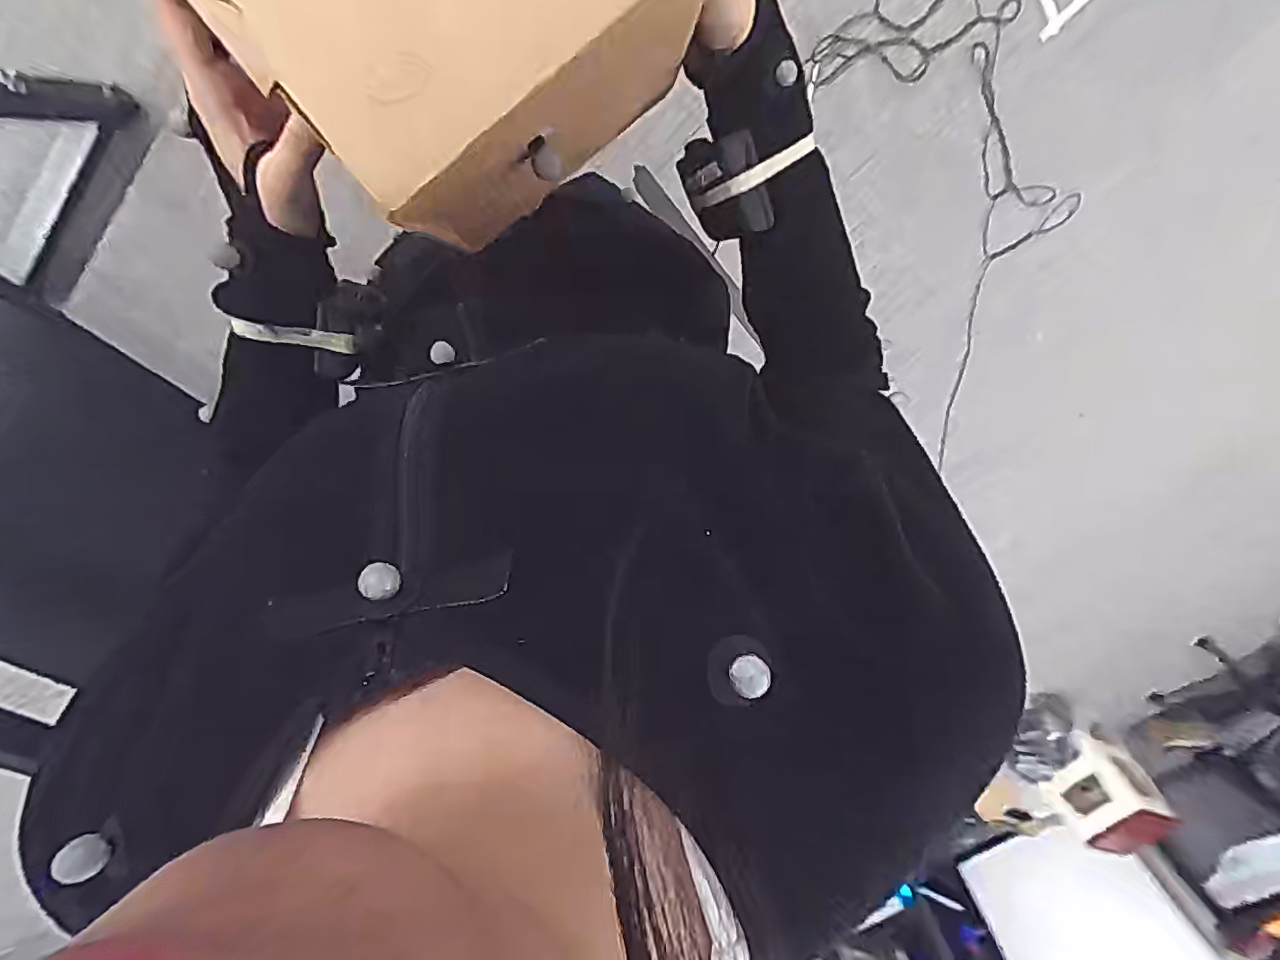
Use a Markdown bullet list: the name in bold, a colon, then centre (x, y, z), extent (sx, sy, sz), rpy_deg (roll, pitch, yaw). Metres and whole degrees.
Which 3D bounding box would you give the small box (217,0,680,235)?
- **small box**: centre (-0.088, -0.248, 0.265), extent (0.179, 0.176, 0.168), rpy_deg (-36, 105, 8)
